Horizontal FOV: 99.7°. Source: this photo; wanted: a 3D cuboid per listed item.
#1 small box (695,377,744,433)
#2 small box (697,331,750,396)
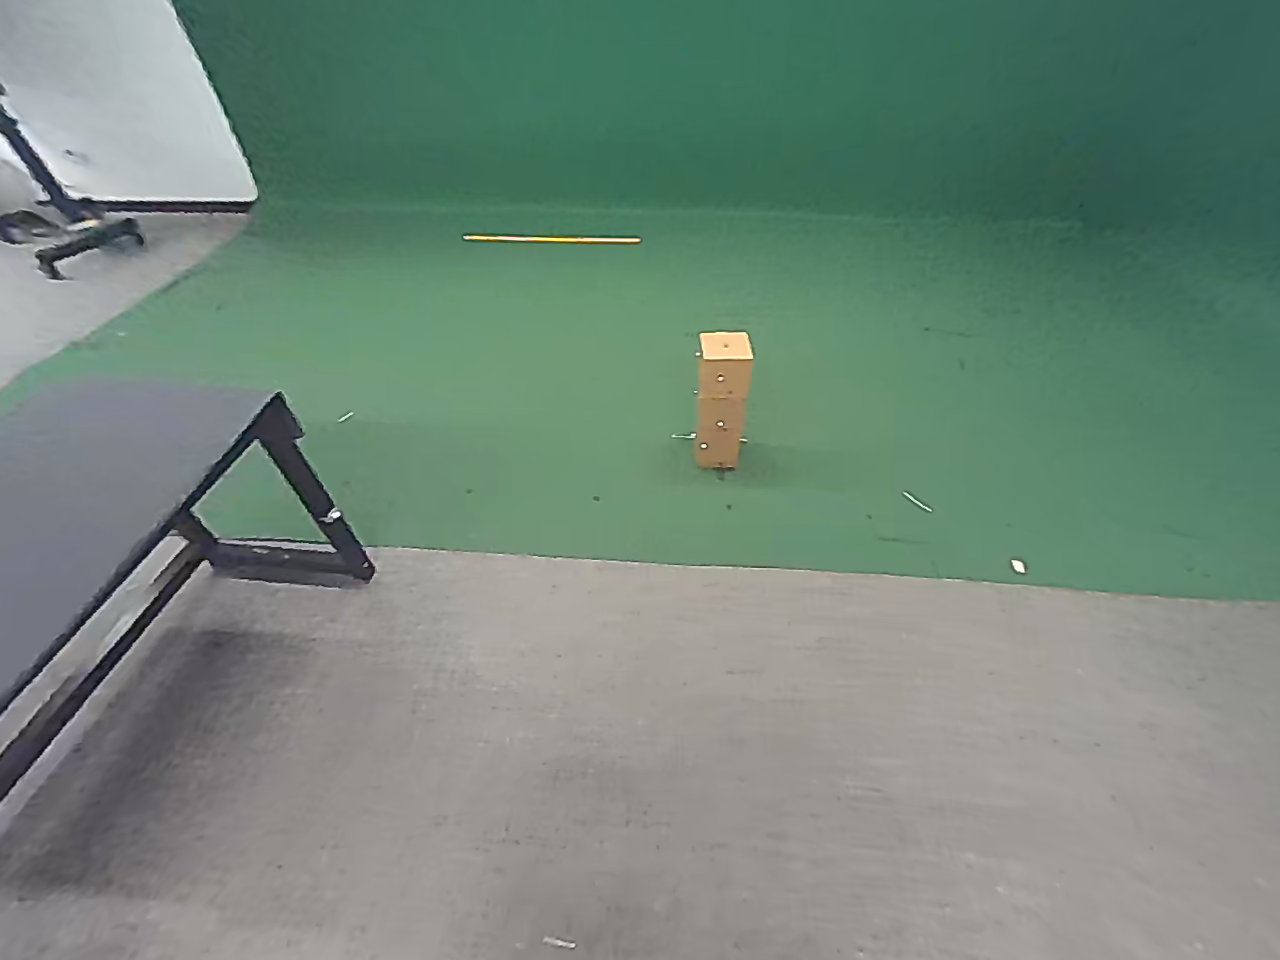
[{"bbox_3d":[0.295,-0.298,2.041,0.168,0.176,0.179,1,45,2],"label":"small box"},{"bbox_3d":[0.293,-0.410,1.924,0.168,0.176,0.179,-1,45,0],"label":"small box"}]
